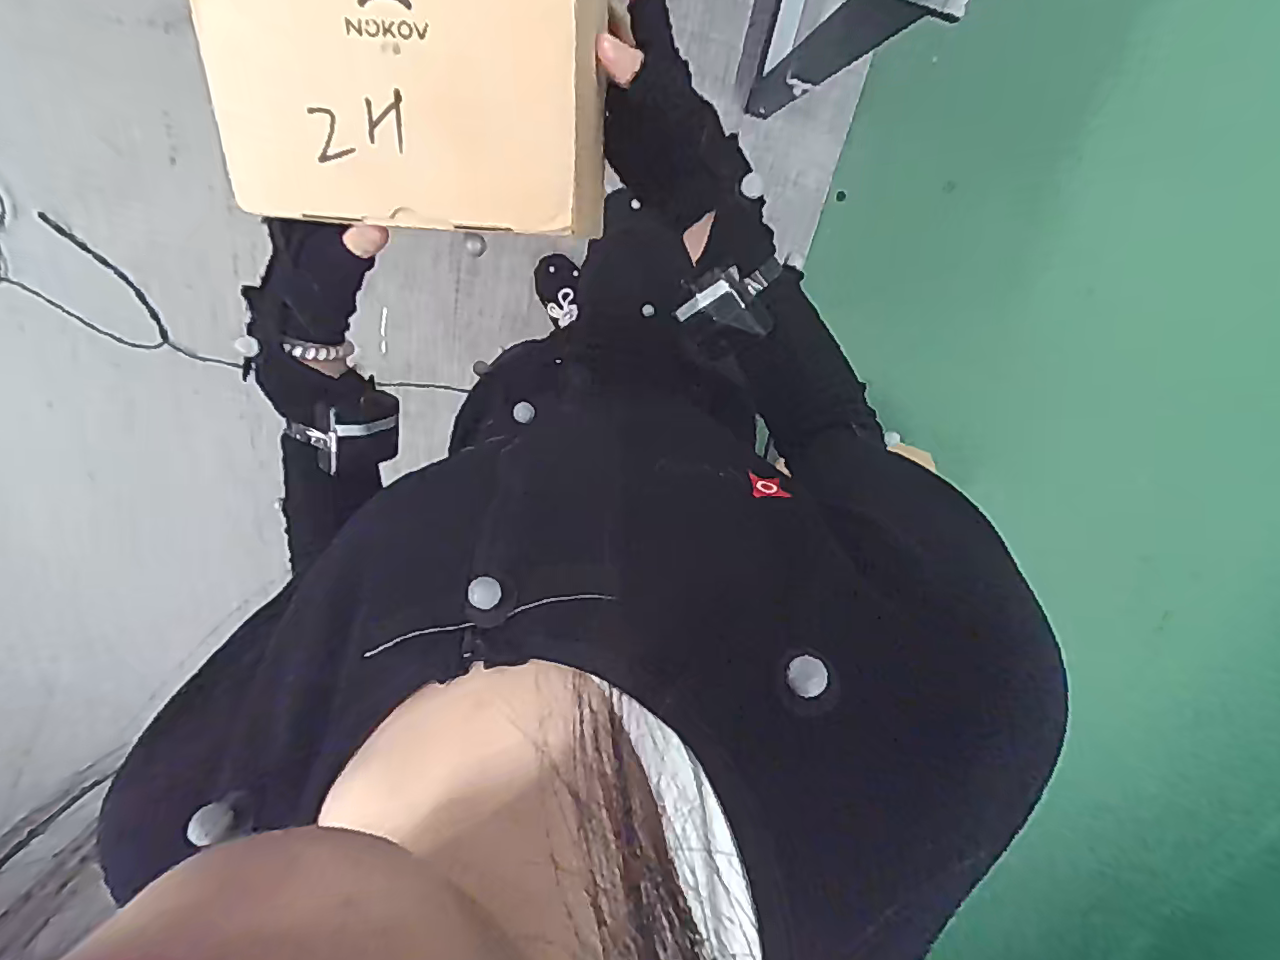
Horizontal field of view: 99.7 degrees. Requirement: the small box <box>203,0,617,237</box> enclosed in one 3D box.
[{"bbox_3d":[-0.102,-0.239,0.301,0.168,0.176,0.179,4,114,0],"label":"small box"}]
